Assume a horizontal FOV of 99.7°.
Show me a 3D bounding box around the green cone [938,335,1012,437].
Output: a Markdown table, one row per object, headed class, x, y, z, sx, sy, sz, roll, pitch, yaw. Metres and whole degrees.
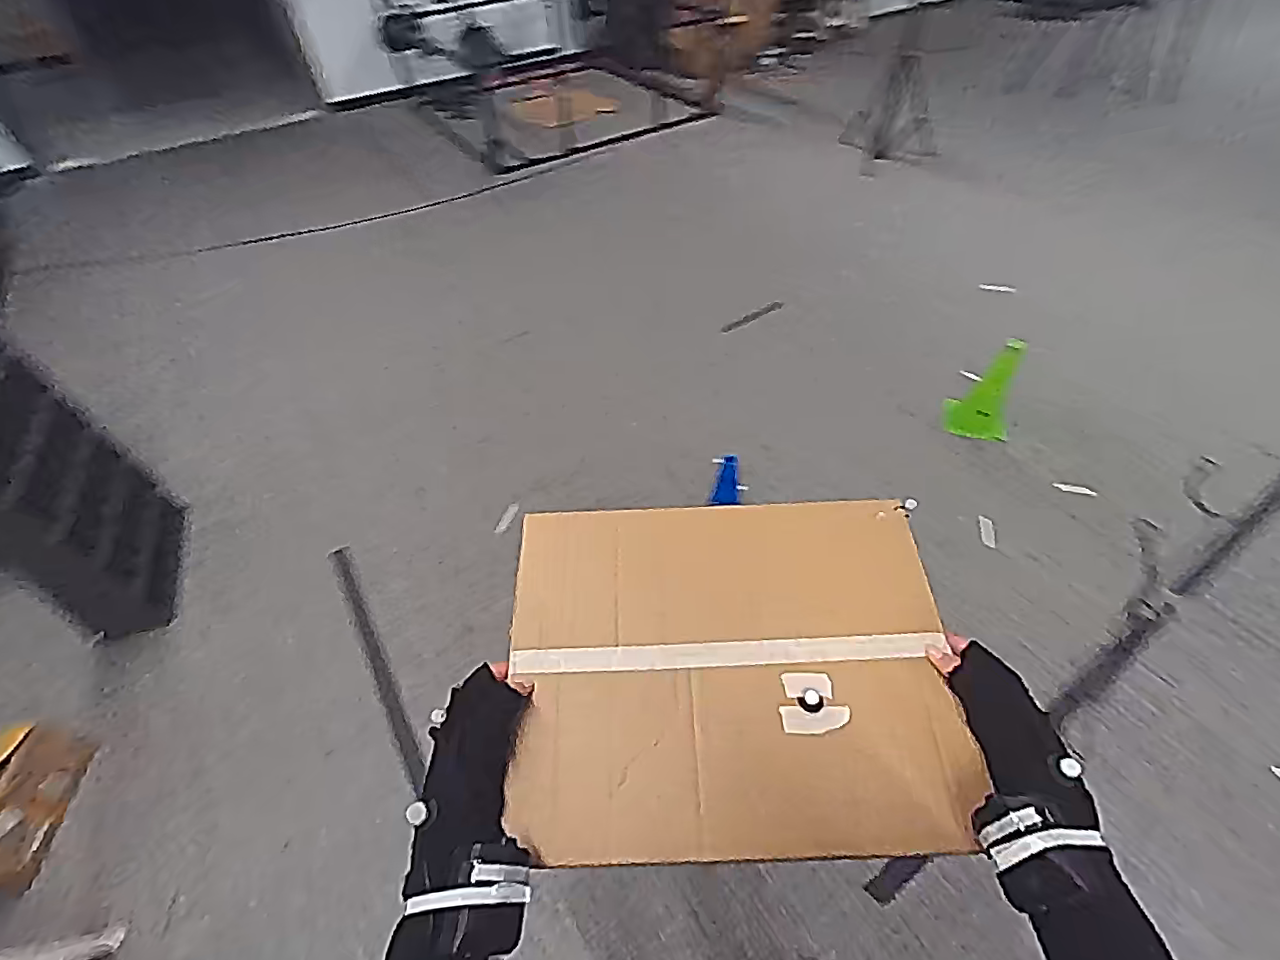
| class | x | y | z | sx | sy | sz | roll | pitch | yaw |
| --- | --- | --- | --- | --- | --- | --- | --- | --- | --- |
| green cone | 1.250 | -0.360 | 1.954 | 0.202 | 0.368 | 0.200 | 11 | 50 | 15 |
